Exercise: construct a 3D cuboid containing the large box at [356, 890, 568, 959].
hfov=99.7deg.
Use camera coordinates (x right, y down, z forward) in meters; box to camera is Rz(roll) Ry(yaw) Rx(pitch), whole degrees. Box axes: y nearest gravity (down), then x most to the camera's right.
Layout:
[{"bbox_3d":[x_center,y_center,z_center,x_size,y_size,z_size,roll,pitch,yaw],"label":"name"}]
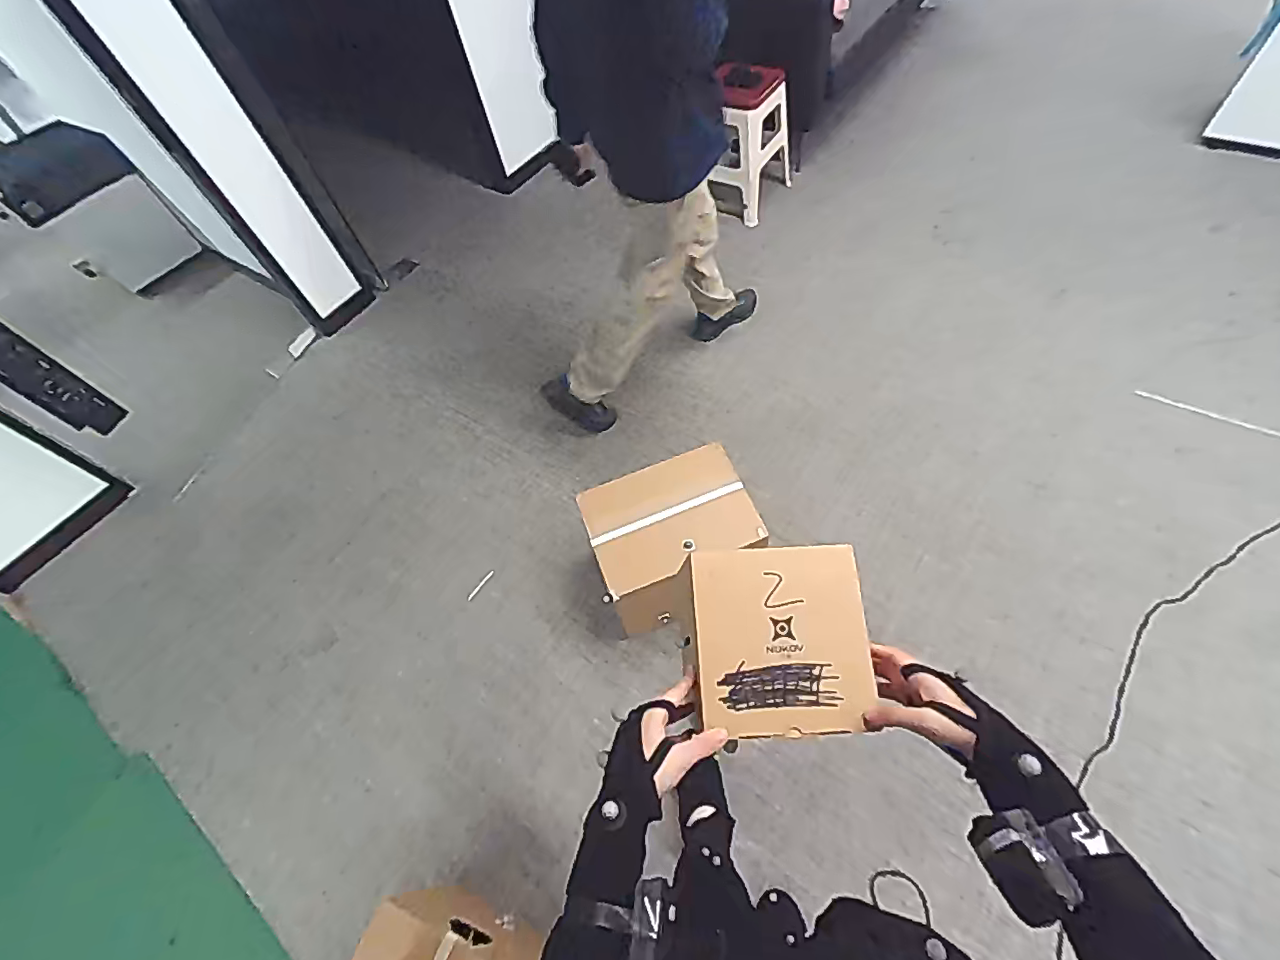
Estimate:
[{"bbox_3d":[-0.373,1.043,0.967,0.320,0.320,0.408,14,61,19],"label":"large box"}]
